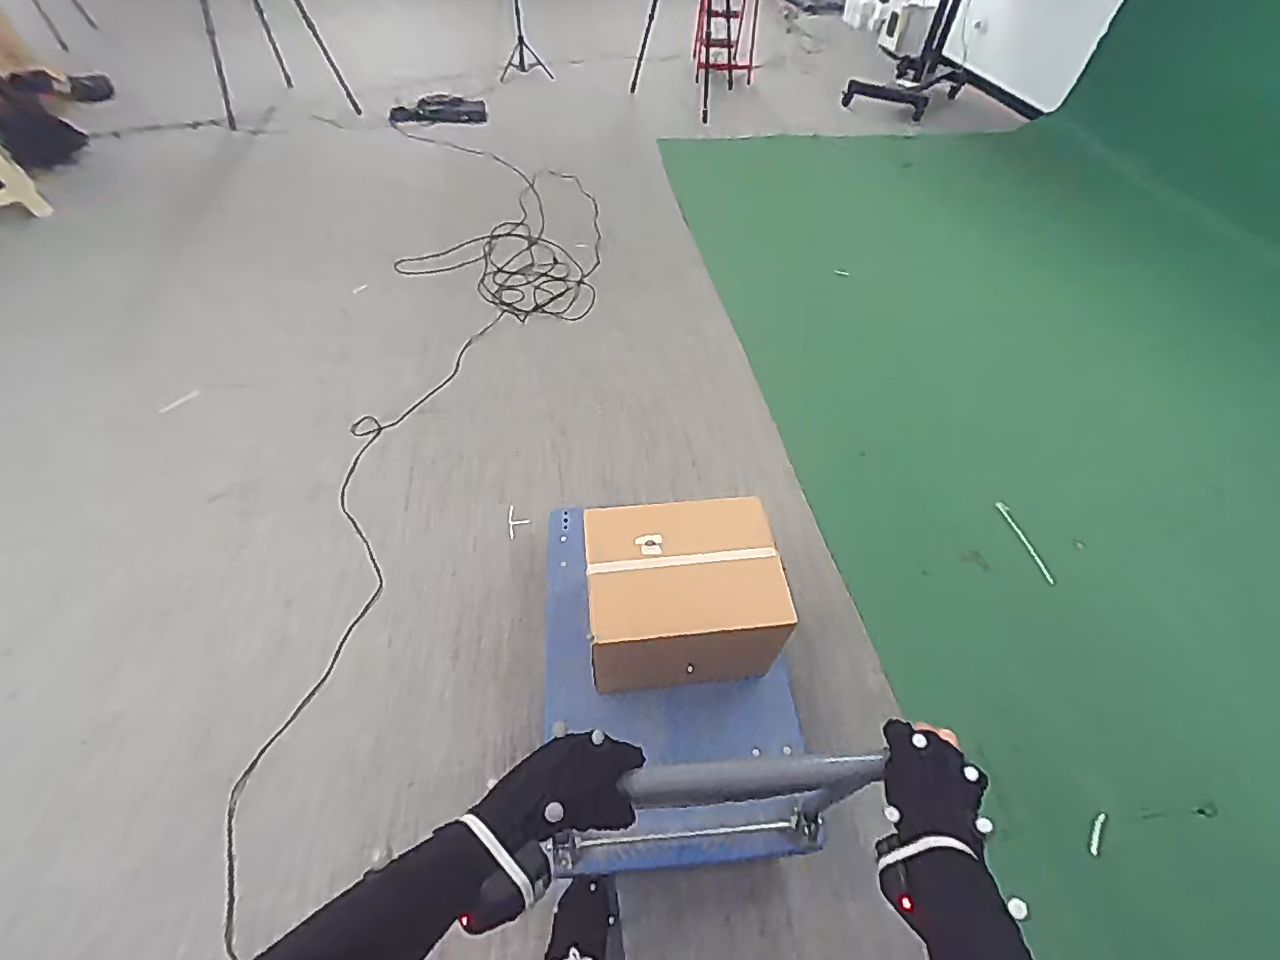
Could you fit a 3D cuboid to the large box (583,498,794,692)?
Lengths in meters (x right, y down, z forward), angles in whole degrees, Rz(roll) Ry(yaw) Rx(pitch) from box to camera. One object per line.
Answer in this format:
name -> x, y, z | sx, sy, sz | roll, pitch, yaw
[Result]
large box -> 0.086, 0.270, 1.249 | 0.408, 0.320, 0.320 | -5, 52, -6
